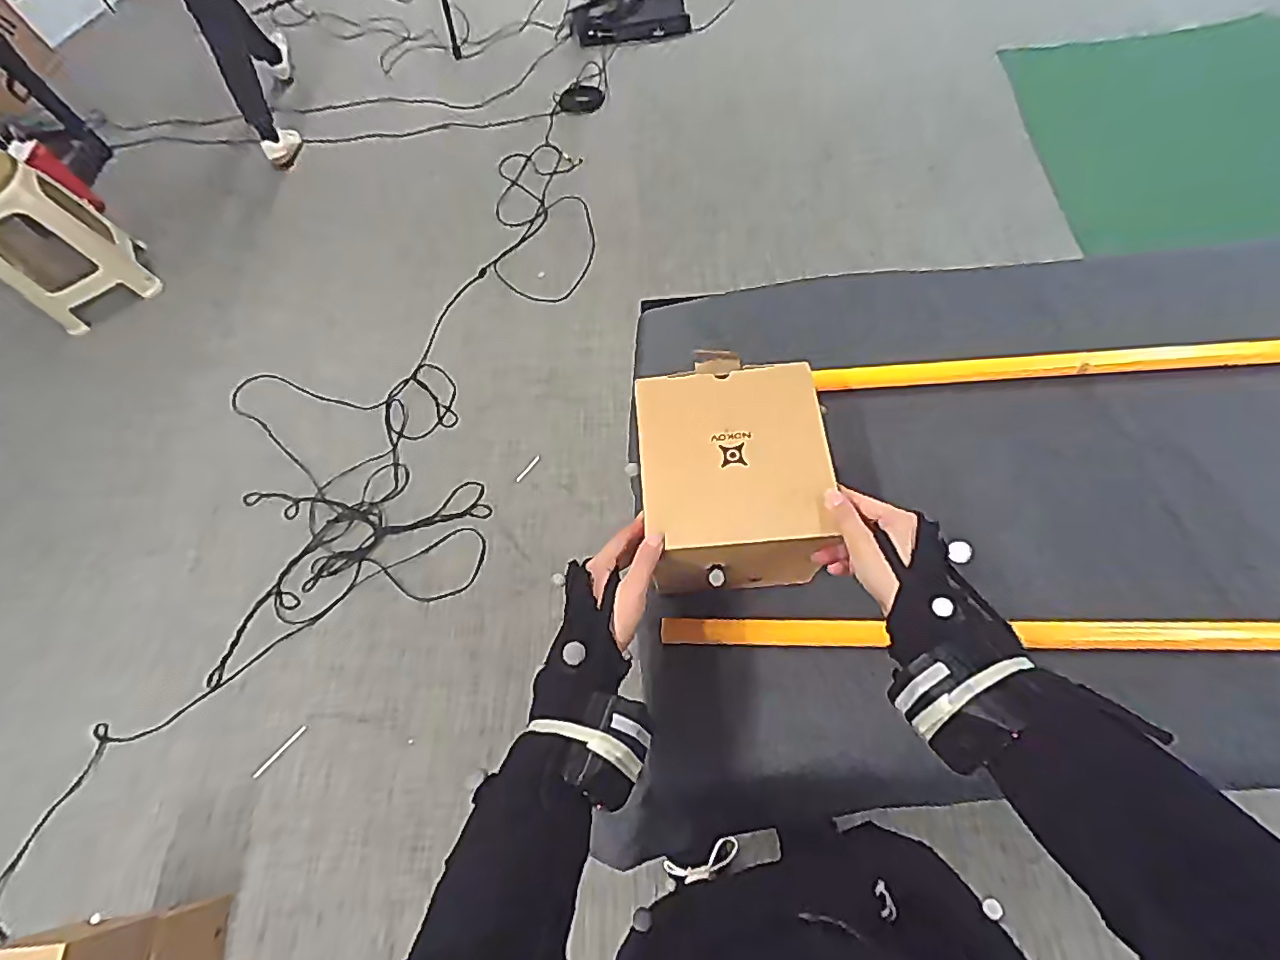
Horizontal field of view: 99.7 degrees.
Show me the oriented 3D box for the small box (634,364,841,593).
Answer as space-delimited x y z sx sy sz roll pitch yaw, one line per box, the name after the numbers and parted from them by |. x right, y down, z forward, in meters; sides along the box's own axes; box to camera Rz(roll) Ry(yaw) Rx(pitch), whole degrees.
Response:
0.088 0.011 0.549 0.168 0.176 0.179 -6 64 4 | small box

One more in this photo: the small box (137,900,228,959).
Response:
-0.942 0.940 1.032 0.179 0.176 0.168 -14 67 1 | small box

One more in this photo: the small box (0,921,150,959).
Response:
-0.970 0.860 0.886 0.168 0.176 0.179 -7 62 3 | small box
